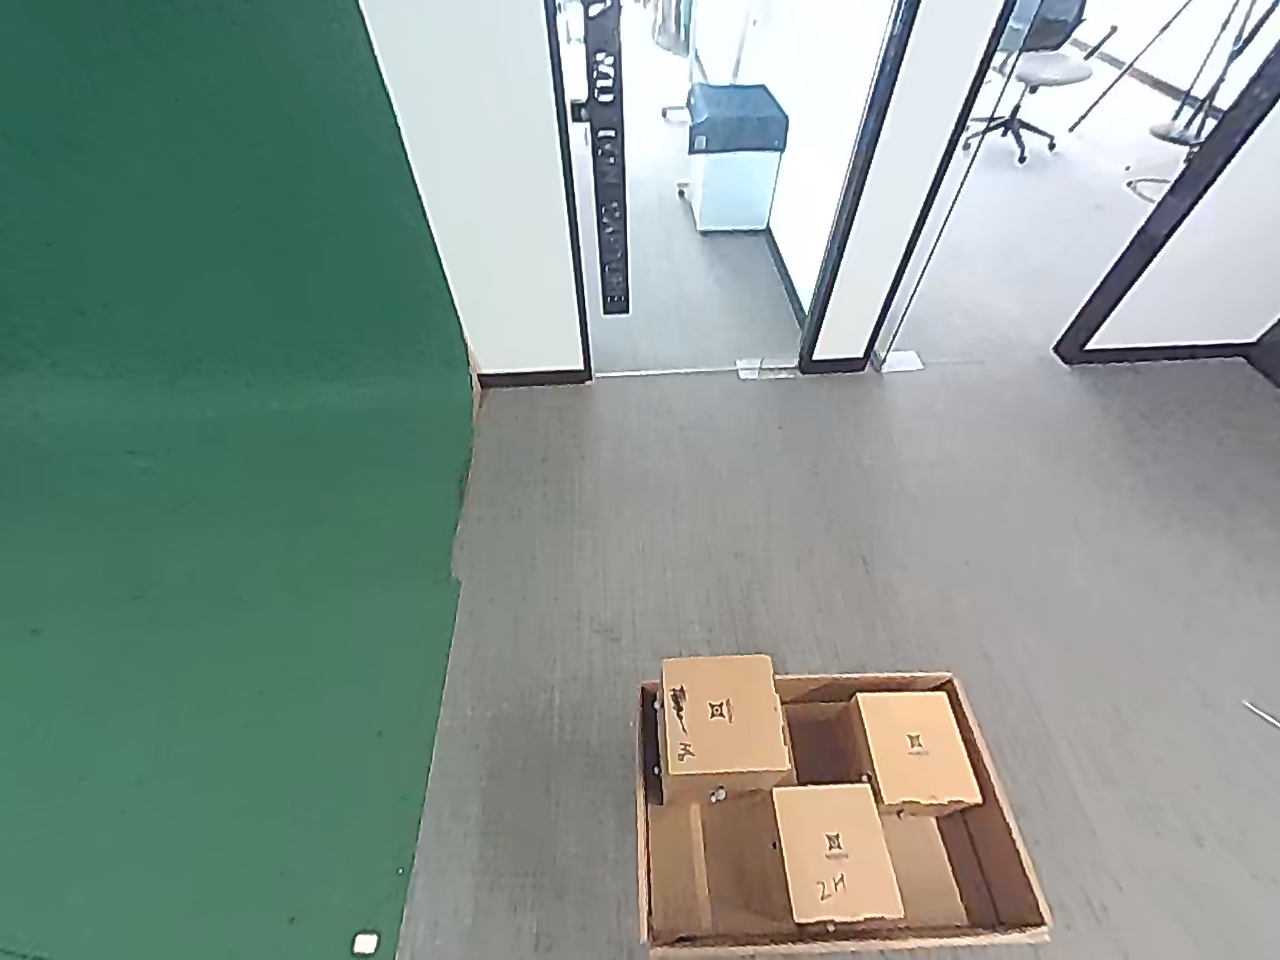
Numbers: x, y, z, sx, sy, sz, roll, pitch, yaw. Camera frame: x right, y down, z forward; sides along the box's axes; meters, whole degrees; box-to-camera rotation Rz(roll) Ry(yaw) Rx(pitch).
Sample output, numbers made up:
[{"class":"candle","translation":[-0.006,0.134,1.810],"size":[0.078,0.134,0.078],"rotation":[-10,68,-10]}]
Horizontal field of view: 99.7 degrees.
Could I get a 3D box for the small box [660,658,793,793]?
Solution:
[{"class":"small box","translation":[0.126,0.395,0.867],"size":[0.179,0.176,0.168],"rotation":[-1,52,-1]}]
